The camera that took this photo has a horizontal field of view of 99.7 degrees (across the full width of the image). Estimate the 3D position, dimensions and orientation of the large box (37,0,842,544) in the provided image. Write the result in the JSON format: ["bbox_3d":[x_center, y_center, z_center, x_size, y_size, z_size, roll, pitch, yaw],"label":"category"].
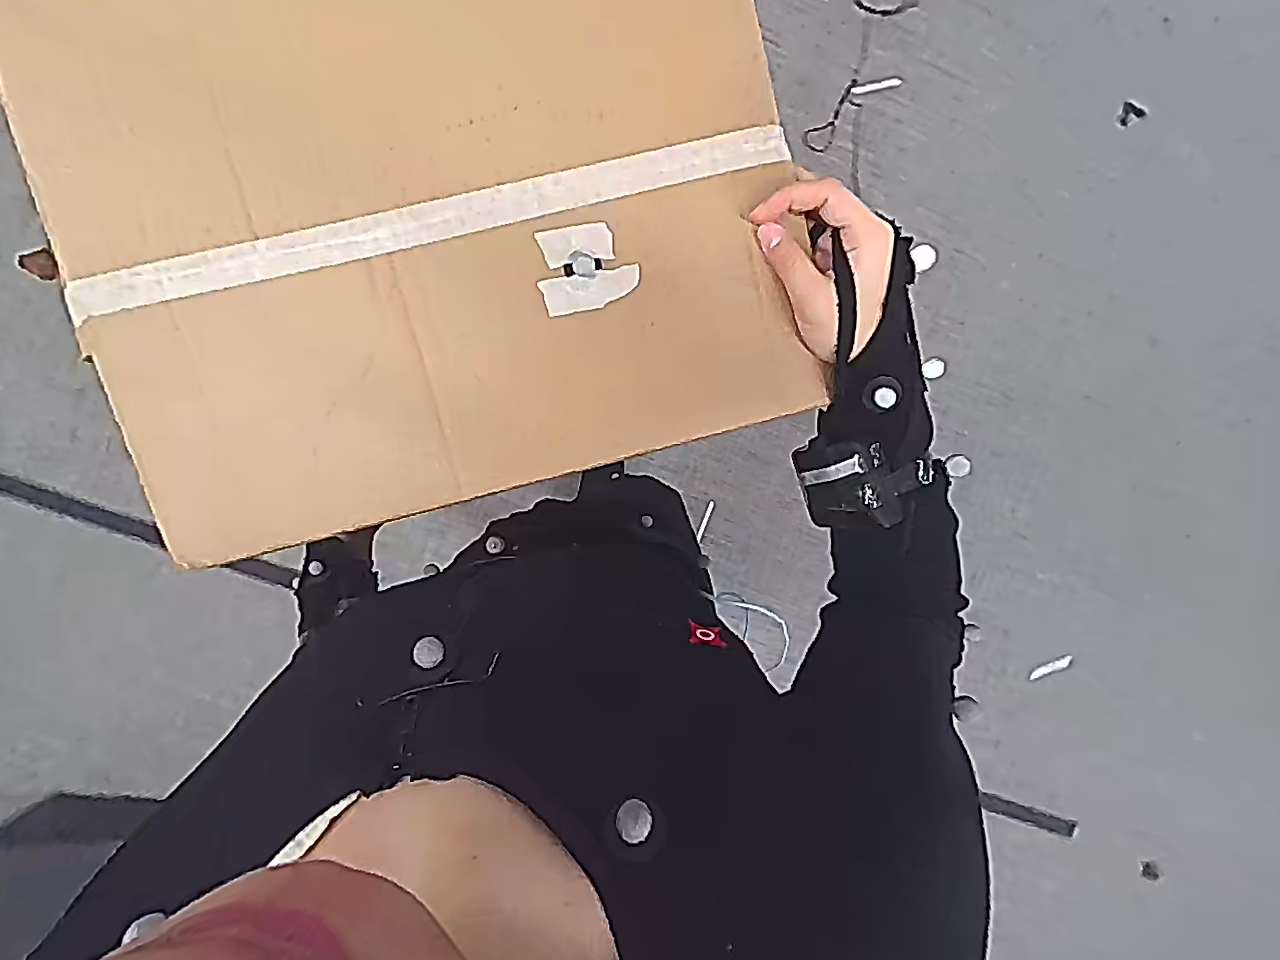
[{"bbox_3d":[-0.112,-0.169,0.464,0.408,0.320,0.320,-14,97,-6],"label":"large box"}]
